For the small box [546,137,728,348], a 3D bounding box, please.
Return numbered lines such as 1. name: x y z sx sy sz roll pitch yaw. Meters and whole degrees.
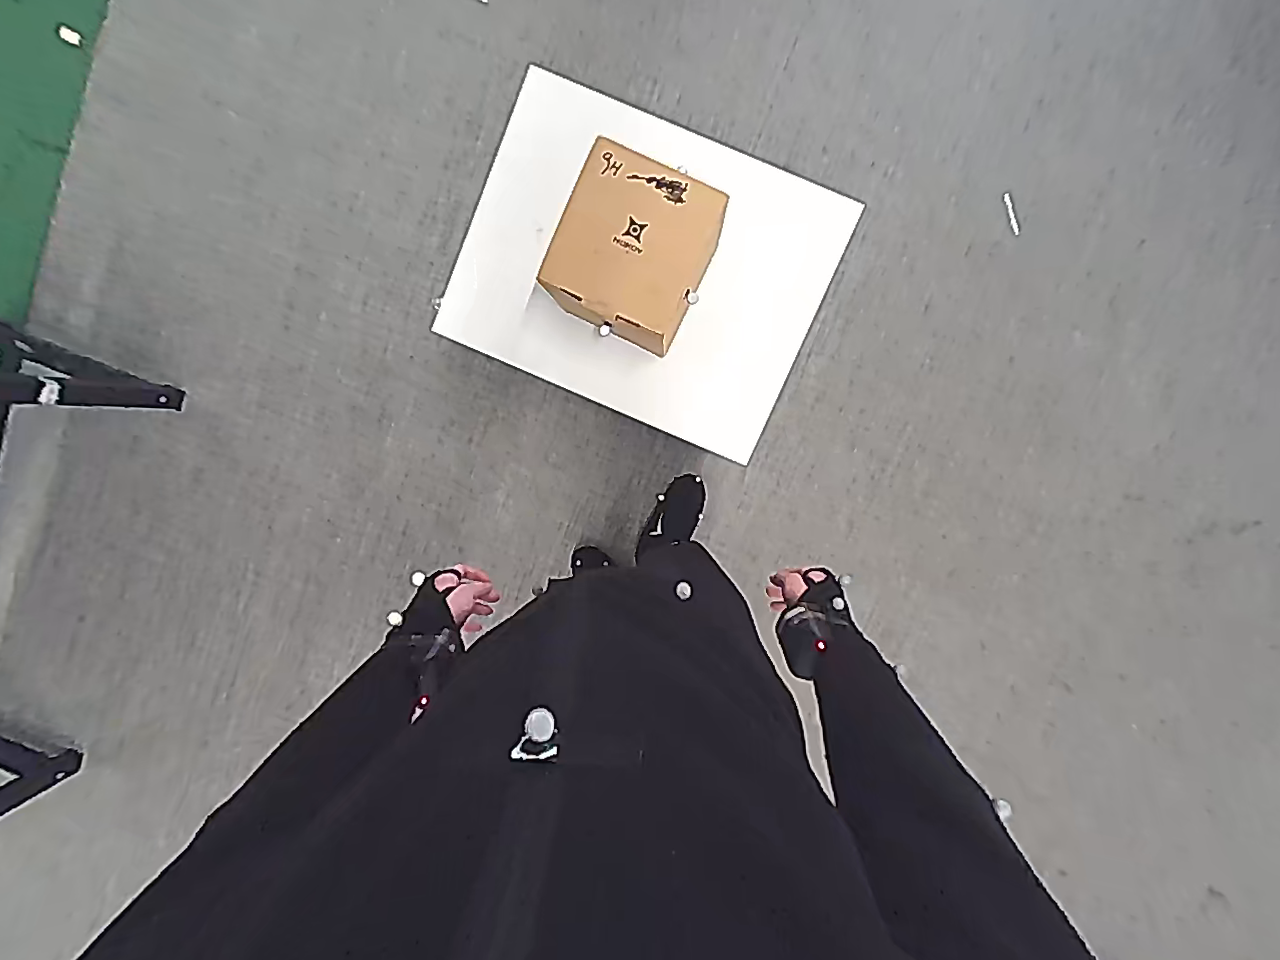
1. small box: 0.001 -0.290 0.706 0.168 0.176 0.179 24 95 2
